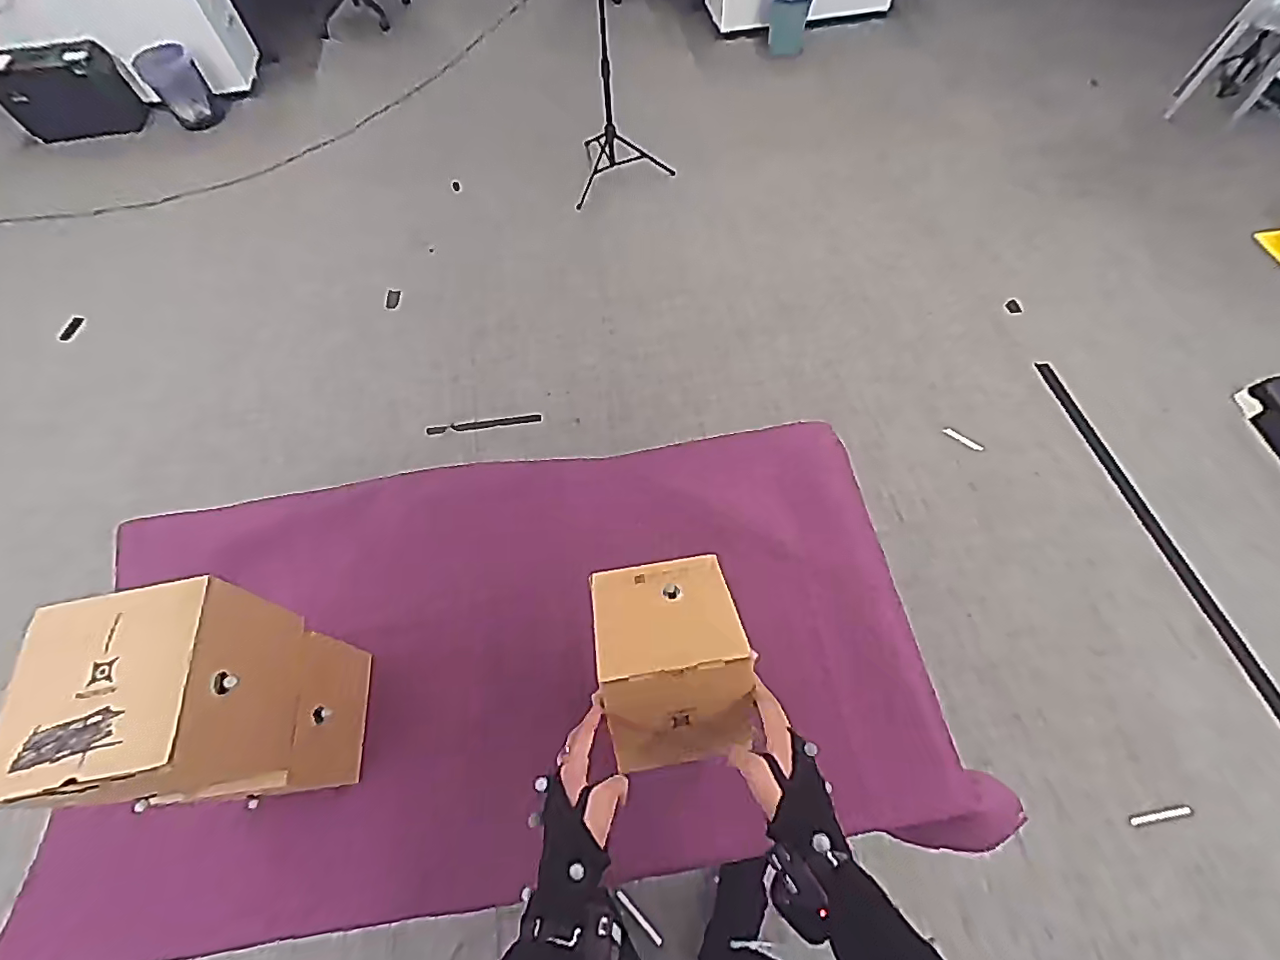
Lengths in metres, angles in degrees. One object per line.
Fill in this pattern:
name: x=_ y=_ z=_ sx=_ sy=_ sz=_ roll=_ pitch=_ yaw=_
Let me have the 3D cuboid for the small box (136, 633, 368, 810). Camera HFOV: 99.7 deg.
small box: x=-0.478 y=0.312 z=0.701 sx=0.168 sy=0.176 sz=0.179 roll=-6 pitch=61 yaw=-2

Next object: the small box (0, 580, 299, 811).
small box: x=-0.488 y=0.224 z=0.562 sx=0.168 sy=0.176 sz=0.179 roll=-10 pitch=61 yaw=-4

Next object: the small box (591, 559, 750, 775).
small box: x=0.034 y=0.226 z=0.672 sx=0.168 sy=0.179 sz=0.176 roll=-10 pitch=30 yaw=-2
